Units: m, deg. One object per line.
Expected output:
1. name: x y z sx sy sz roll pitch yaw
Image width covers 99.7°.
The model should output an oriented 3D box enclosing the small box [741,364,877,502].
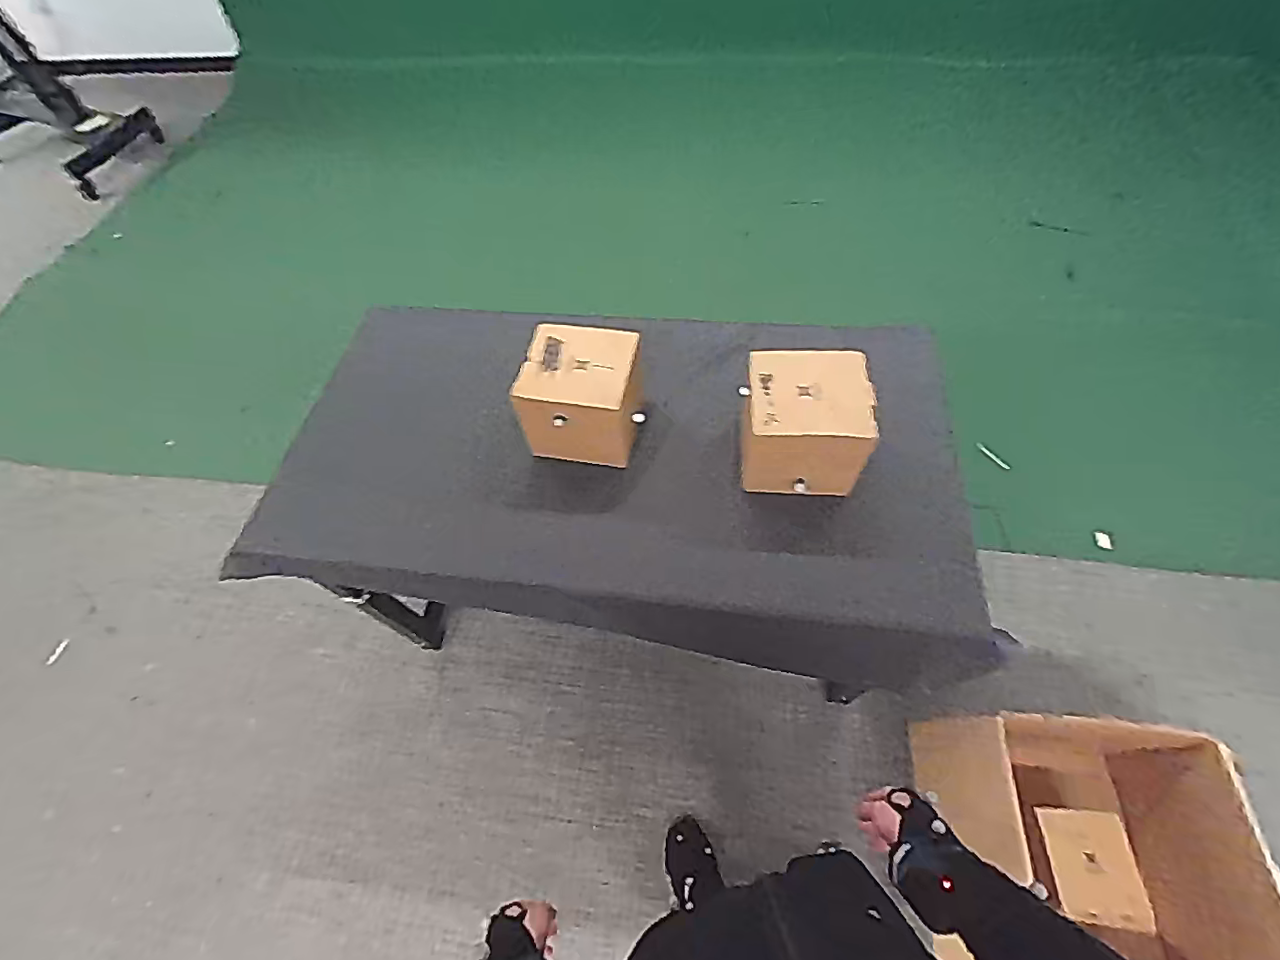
1. small box: 0.266 -0.072 0.893 0.179 0.176 0.168 1 60 5

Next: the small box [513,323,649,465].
1. small box: -0.090 -0.143 0.937 0.179 0.176 0.168 11 62 11
